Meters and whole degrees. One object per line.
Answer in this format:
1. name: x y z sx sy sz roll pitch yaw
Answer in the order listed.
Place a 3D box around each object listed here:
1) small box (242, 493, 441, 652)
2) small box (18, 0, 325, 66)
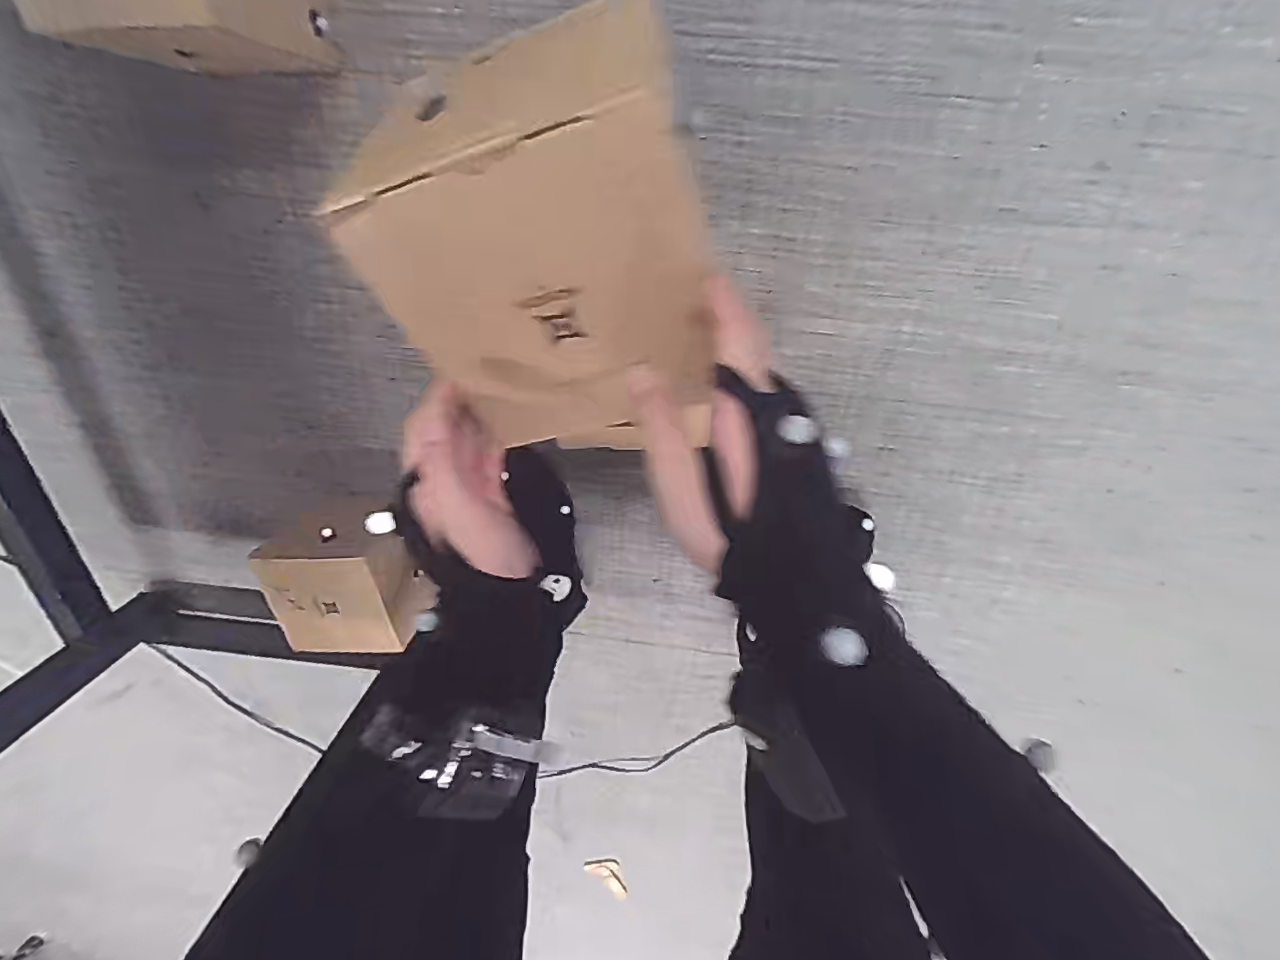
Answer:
1. small box: -0.412 0.128 0.788 0.179 0.176 0.168 -2 117 8
2. small box: -0.409 -0.480 0.470 0.179 0.176 0.168 4 117 6
